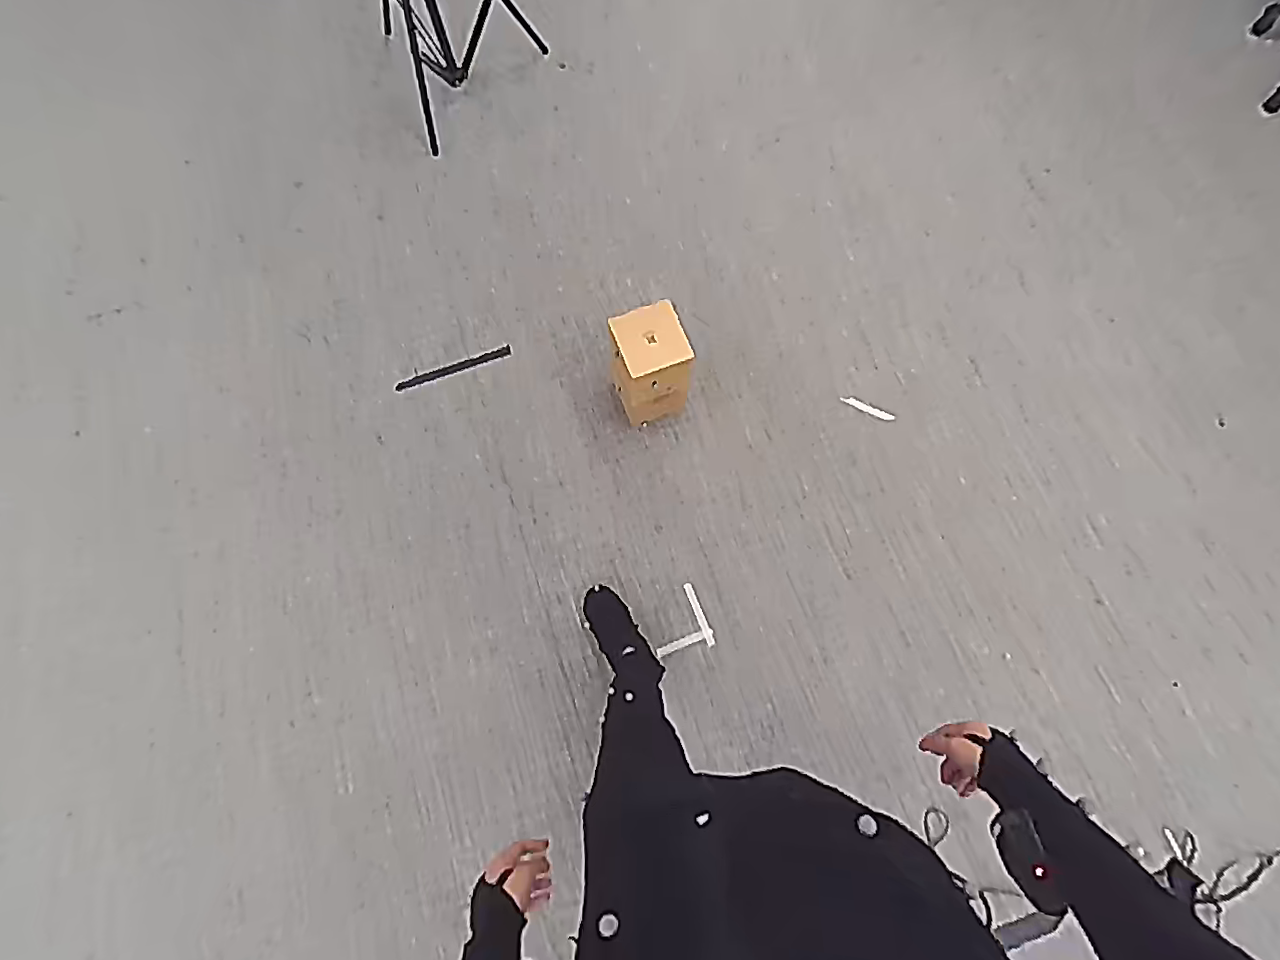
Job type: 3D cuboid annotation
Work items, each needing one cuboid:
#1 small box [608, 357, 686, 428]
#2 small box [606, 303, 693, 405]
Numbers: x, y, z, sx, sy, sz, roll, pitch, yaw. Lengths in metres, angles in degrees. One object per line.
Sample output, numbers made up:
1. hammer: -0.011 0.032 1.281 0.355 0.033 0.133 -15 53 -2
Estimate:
1. small box: 0.020 -0.264 1.534 0.168 0.176 0.179 -22 74 -6
2. small box: 0.023 -0.310 1.379 0.168 0.176 0.179 -21 74 -6
